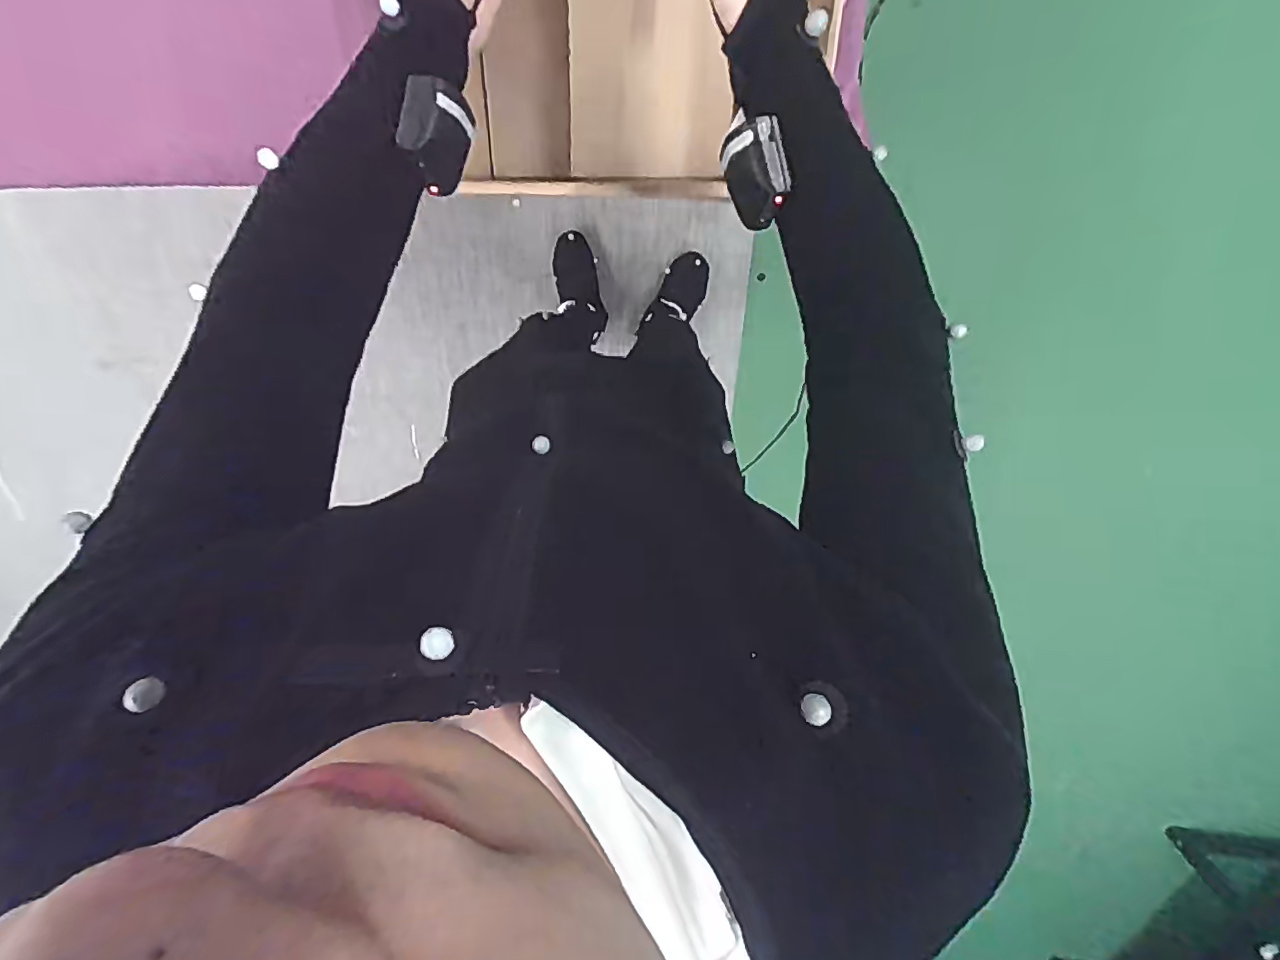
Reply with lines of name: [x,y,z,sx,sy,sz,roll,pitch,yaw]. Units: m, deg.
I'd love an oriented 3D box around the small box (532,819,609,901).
small box: [-0.214,1.225,1.725,0.179,0.176,0.168,-23,113,14]

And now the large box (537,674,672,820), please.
large box: [-0.124,1.025,2.079,0.408,0.320,0.320,-28,112,15]

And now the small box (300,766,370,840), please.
small box: [-1.097,1.173,1.941,0.168,0.176,0.179,21,114,-7]
